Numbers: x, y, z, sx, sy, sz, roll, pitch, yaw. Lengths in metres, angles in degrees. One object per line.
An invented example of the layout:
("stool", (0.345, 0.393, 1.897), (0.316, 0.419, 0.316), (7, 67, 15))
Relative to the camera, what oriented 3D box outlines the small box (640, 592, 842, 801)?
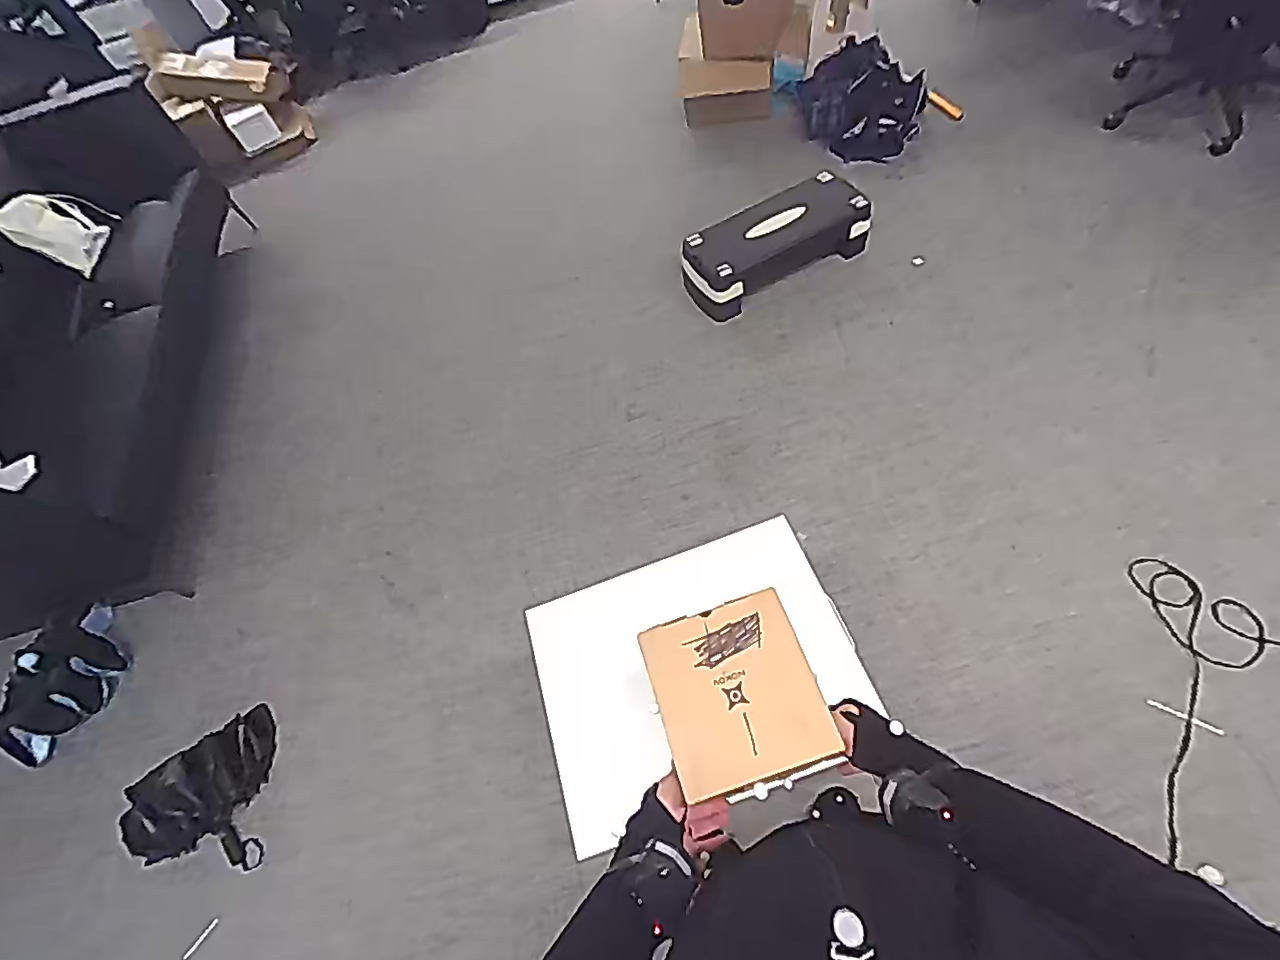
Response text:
("small box", (0.109, 0.259, 0.636), (0.168, 0.176, 0.179), (-18, 59, 0))
